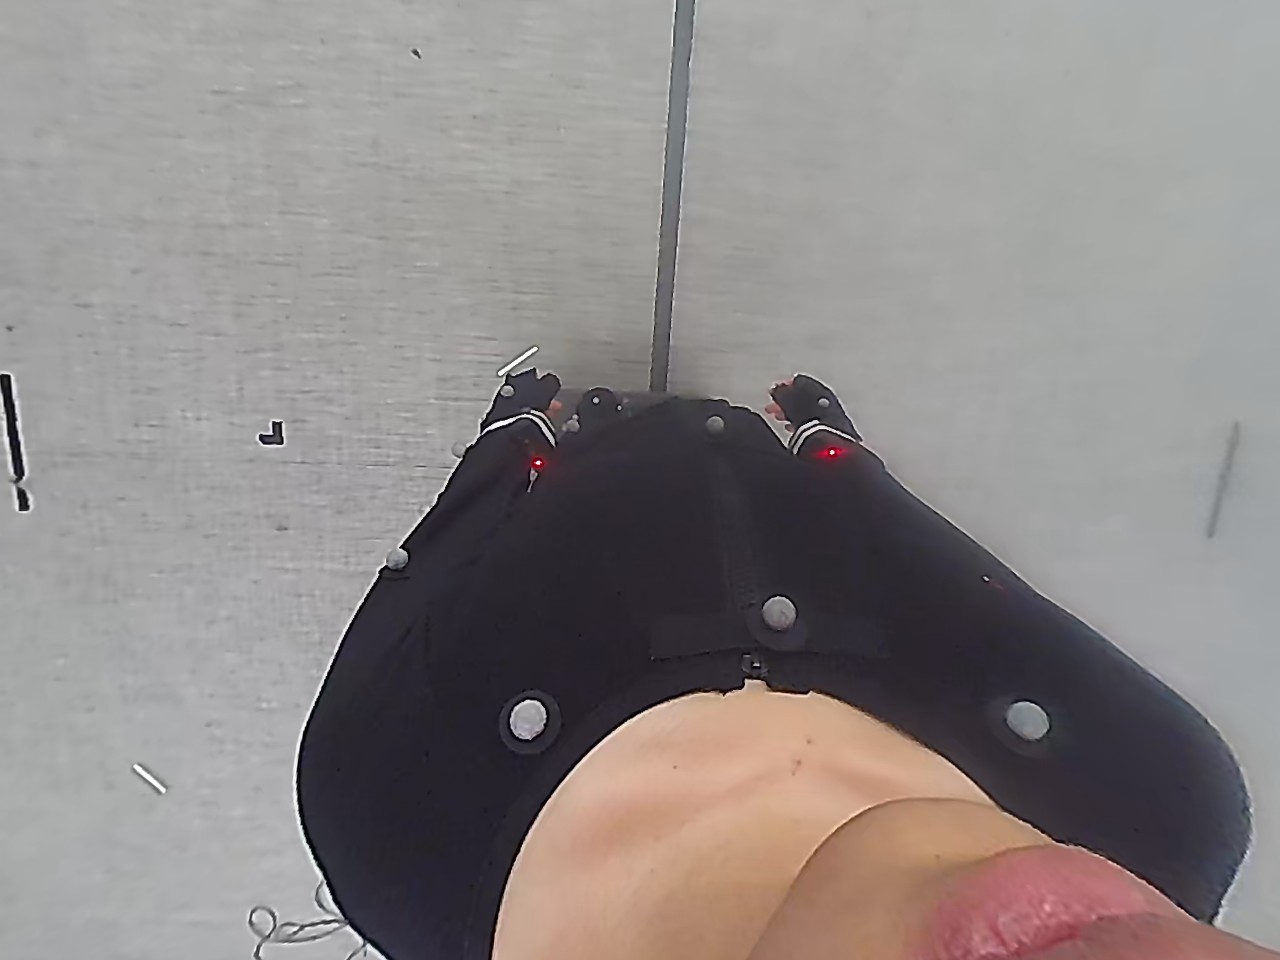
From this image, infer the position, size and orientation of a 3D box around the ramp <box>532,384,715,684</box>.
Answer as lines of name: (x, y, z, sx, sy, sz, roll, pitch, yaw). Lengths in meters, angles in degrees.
ramp: (-0.062, 0.215, 1.613, 0.509, 0.206, 0.991, 0, 102, -4)
